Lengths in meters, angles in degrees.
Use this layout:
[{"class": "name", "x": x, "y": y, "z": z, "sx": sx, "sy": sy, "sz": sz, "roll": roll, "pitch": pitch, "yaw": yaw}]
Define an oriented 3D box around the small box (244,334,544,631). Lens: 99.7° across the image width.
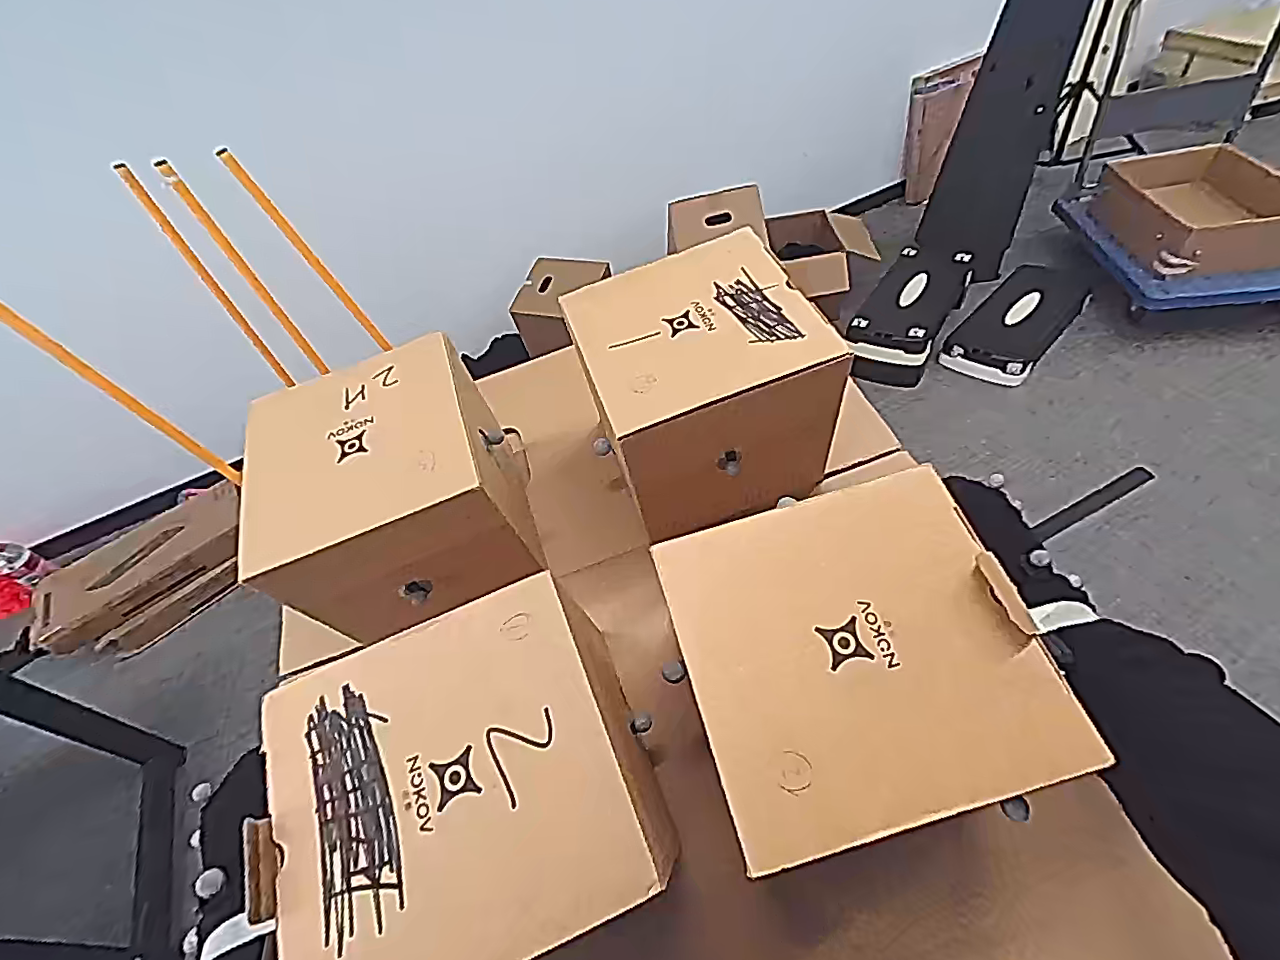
[{"class": "small box", "x": -0.197, "y": 0.014, "z": 0.470, "sx": 0.168, "sy": 0.176, "sz": 0.179, "roll": -21, "pitch": 55, "yaw": -4}]
